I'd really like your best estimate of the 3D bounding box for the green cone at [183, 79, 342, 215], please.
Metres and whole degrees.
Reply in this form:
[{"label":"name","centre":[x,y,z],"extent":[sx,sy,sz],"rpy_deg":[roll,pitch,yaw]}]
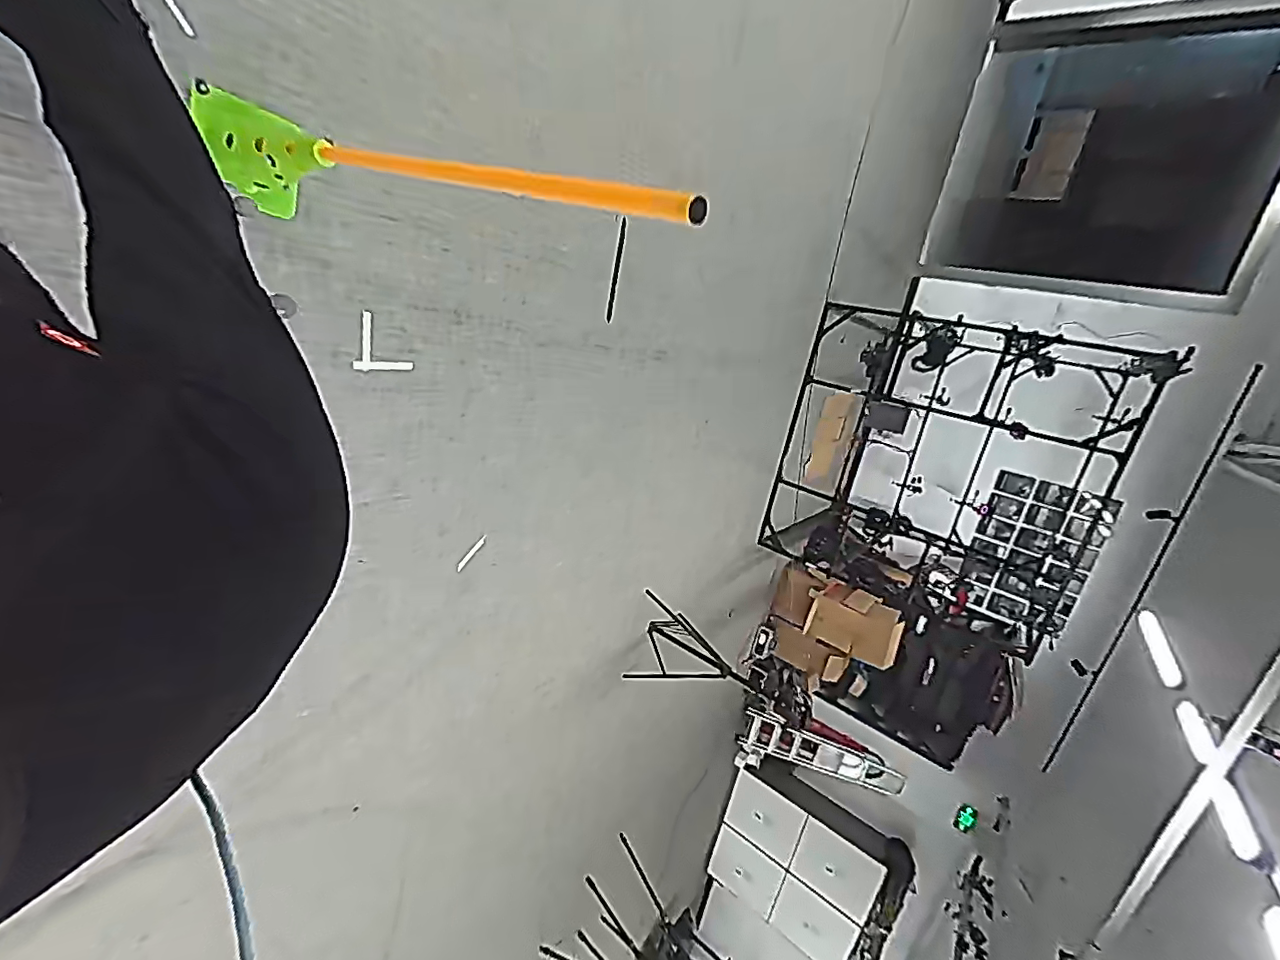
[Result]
[{"label":"green cone","centre":[-0.697,-0.634,1.050],"extent":[0.202,0.368,0.200],"rpy_deg":[-6,114,-56]}]
